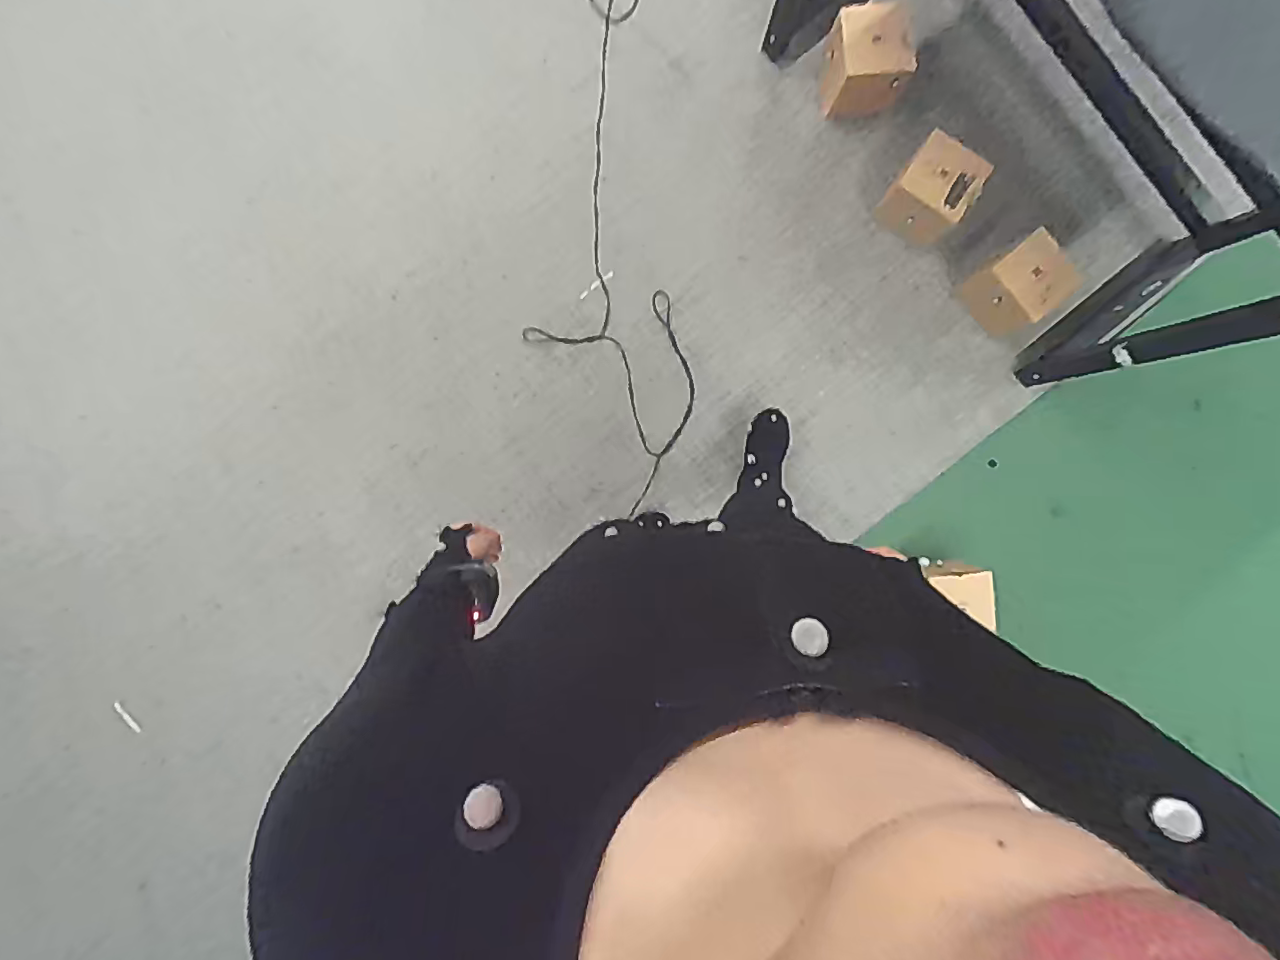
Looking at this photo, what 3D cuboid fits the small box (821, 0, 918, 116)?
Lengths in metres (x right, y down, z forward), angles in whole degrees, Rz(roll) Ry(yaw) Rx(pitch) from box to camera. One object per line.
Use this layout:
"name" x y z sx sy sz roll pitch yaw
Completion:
"small box" 0.572 -1.063 1.374 0.179 0.176 0.168 -6 91 -1

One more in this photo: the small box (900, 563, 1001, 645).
"small box" 0.798 0.314 1.406 0.168 0.176 0.179 -4 91 -1

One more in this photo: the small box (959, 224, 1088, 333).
"small box" 0.970 -0.504 1.387 0.168 0.176 0.179 -40 92 1

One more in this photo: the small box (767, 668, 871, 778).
"small box" 0.457 0.622 1.410 0.179 0.176 0.168 -30 90 2
